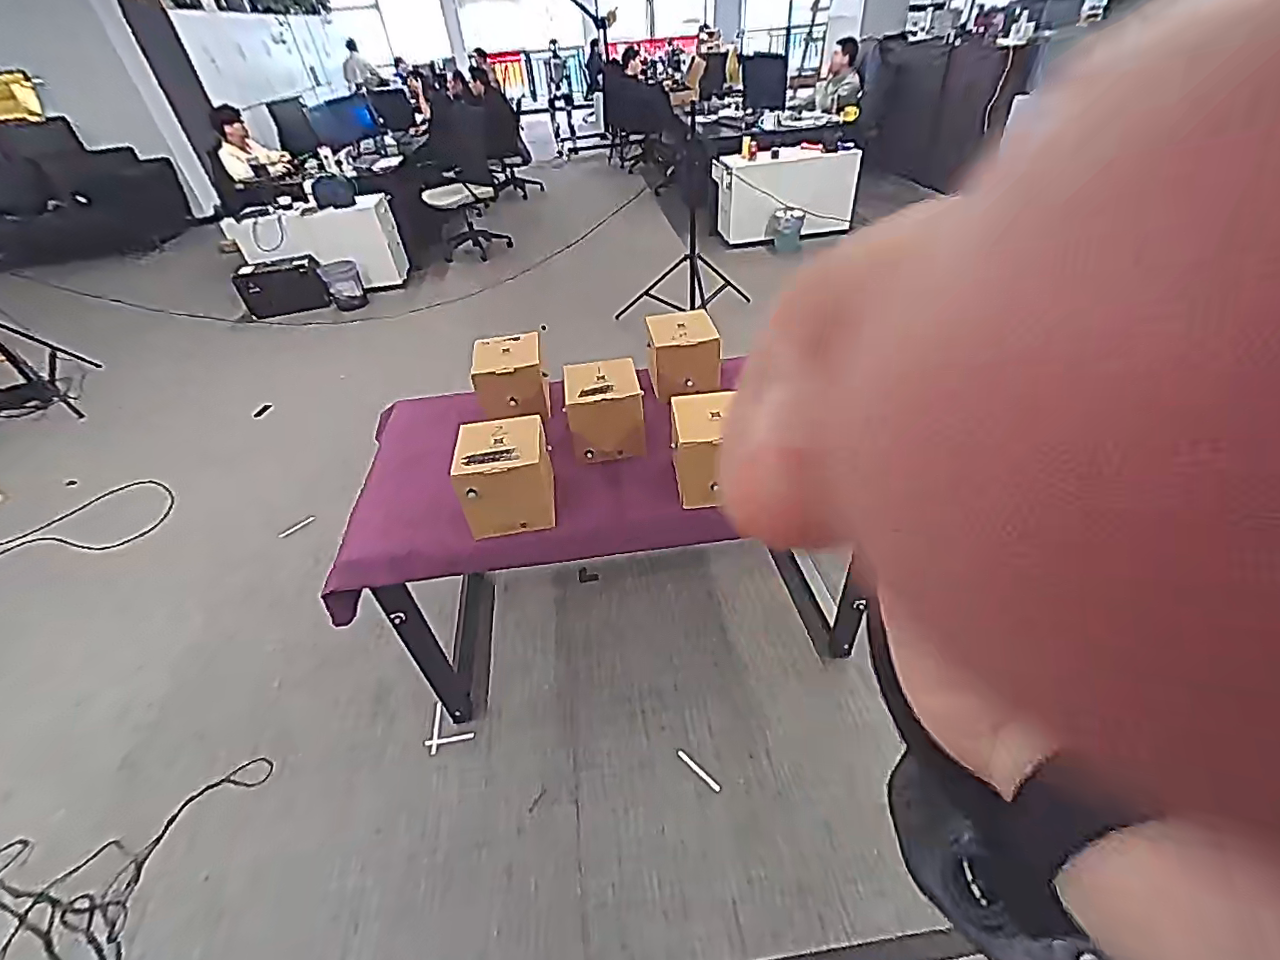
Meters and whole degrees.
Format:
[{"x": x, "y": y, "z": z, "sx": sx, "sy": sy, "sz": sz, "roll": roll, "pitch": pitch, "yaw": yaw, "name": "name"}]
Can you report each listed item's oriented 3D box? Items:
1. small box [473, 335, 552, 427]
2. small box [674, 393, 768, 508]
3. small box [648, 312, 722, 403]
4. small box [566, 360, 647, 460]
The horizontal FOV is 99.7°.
[{"x": -0.325, "y": -0.251, "z": 1.405, "sx": 0.168, "sy": 0.176, "sz": 0.179, "roll": -8, "pitch": 43, "yaw": -4, "name": "small box"}, {"x": 0.161, "y": -0.062, "z": 1.132, "sx": 0.168, "sy": 0.176, "sz": 0.179, "roll": -5, "pitch": 39, "yaw": 0, "name": "small box"}, {"x": 0.116, "y": -0.326, "z": 1.442, "sx": 0.168, "sy": 0.176, "sz": 0.179, "roll": -9, "pitch": 42, "yaw": -3, "name": "small box"}, {"x": -0.079, "y": -0.159, "z": 1.274, "sx": 0.168, "sy": 0.176, "sz": 0.179, "roll": -8, "pitch": 40, "yaw": -3, "name": "small box"}]
